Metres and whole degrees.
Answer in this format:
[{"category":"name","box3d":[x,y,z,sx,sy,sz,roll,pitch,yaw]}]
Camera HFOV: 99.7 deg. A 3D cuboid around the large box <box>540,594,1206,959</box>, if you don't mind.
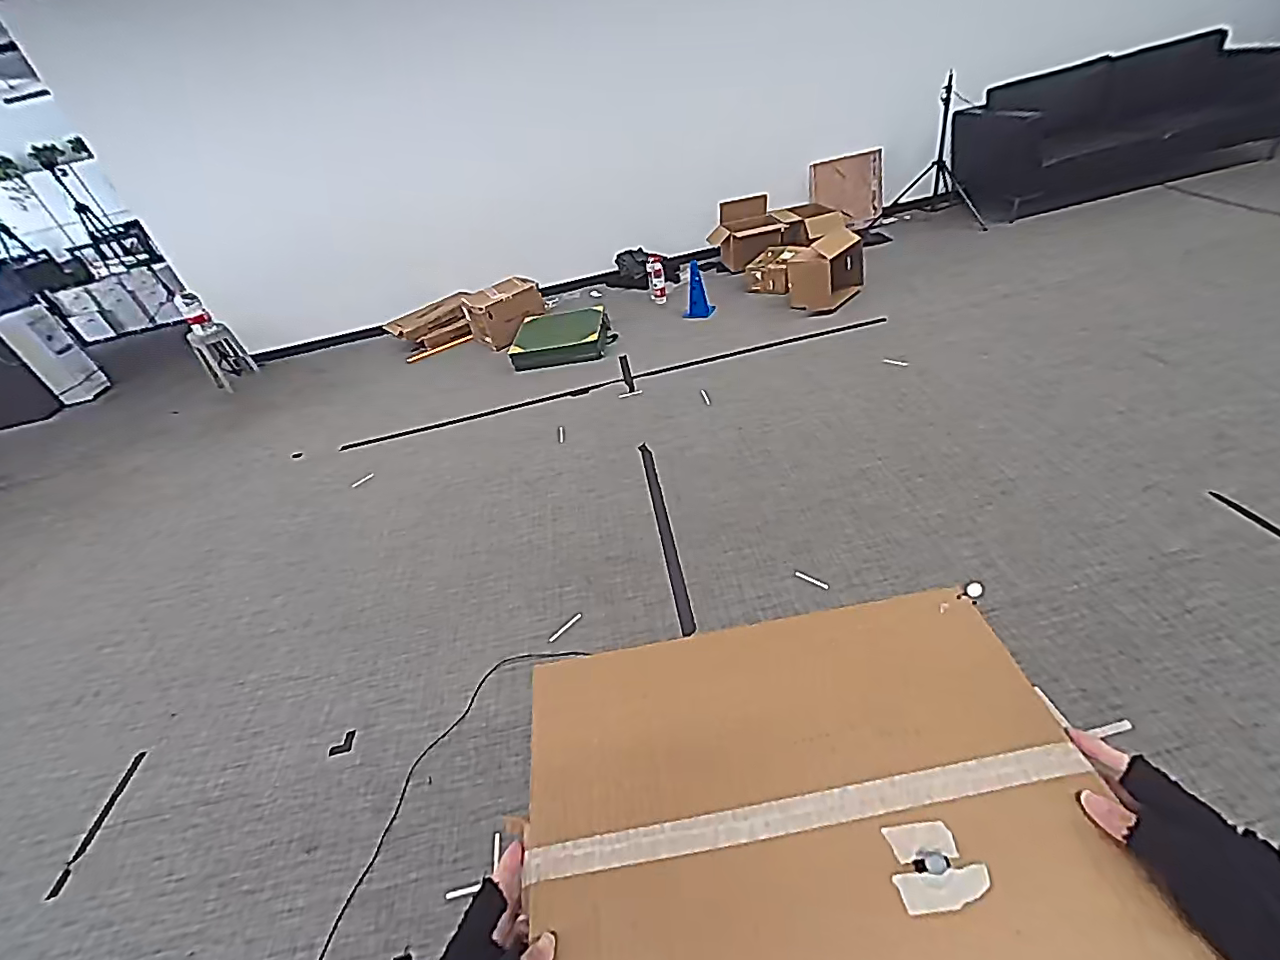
[{"category":"large box","box3d":[0.139,0.355,0.499,0.408,0.320,0.320,-10,42,-1]}]
